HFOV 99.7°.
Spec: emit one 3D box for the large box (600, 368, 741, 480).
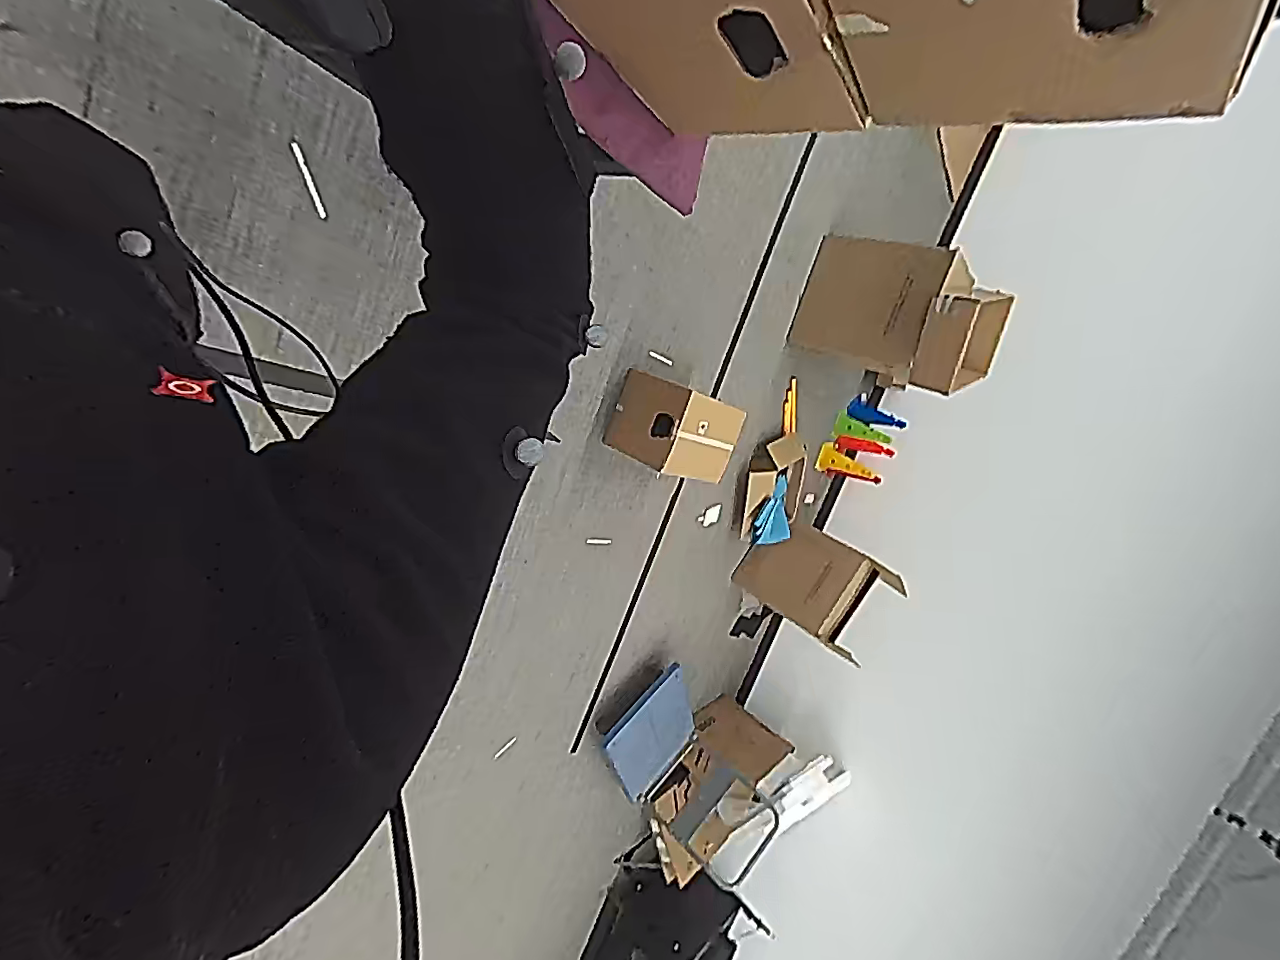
[{"bbox_3d":[0.122,-0.212,2.103,0.408,0.320,0.320,8,105,-51],"label":"large box"}]
